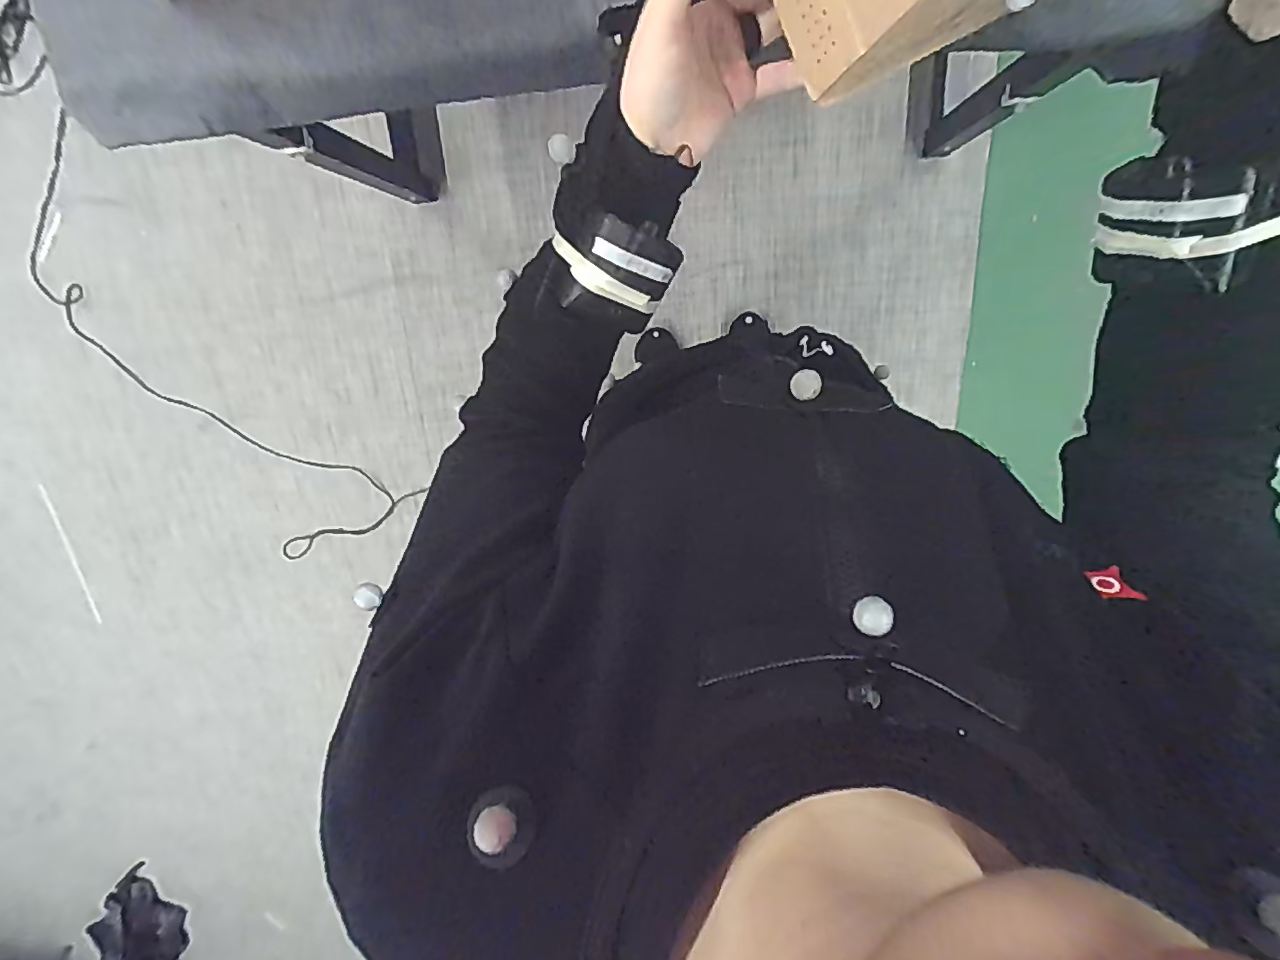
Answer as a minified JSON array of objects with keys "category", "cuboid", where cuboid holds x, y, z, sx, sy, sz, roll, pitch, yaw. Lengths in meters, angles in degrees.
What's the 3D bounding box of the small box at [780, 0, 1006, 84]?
[{"category":"small box","cuboid":[0.131,-0.286,0.173,0.168,0.176,0.179,-31,106,-4]}]
